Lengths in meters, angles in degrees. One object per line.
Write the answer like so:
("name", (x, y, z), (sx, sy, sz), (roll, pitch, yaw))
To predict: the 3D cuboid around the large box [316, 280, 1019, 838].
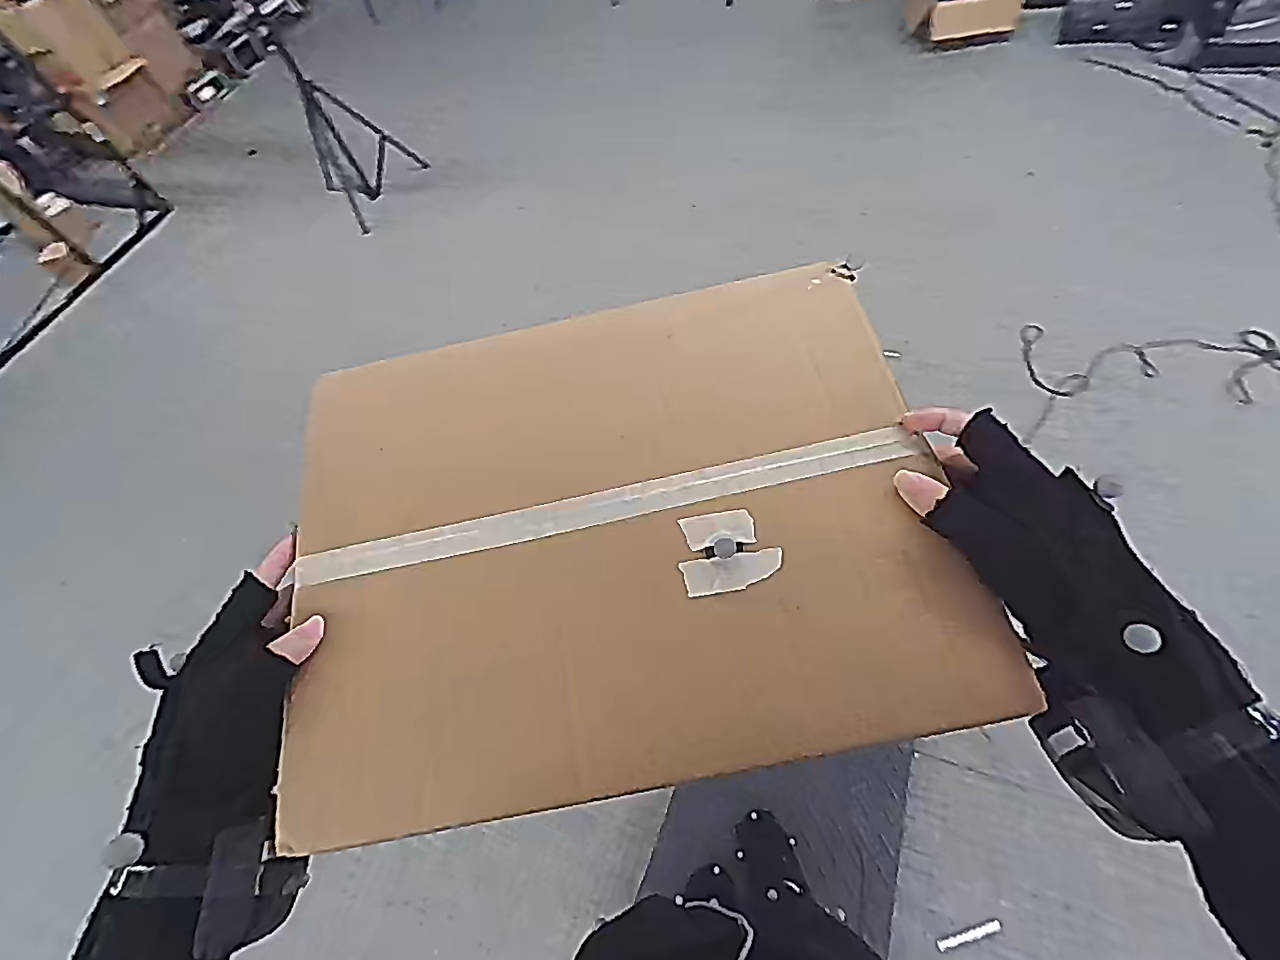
("large box", (0.002, 0.083, 0.491), (0.408, 0.320, 0.320), (-11, 66, 2))
